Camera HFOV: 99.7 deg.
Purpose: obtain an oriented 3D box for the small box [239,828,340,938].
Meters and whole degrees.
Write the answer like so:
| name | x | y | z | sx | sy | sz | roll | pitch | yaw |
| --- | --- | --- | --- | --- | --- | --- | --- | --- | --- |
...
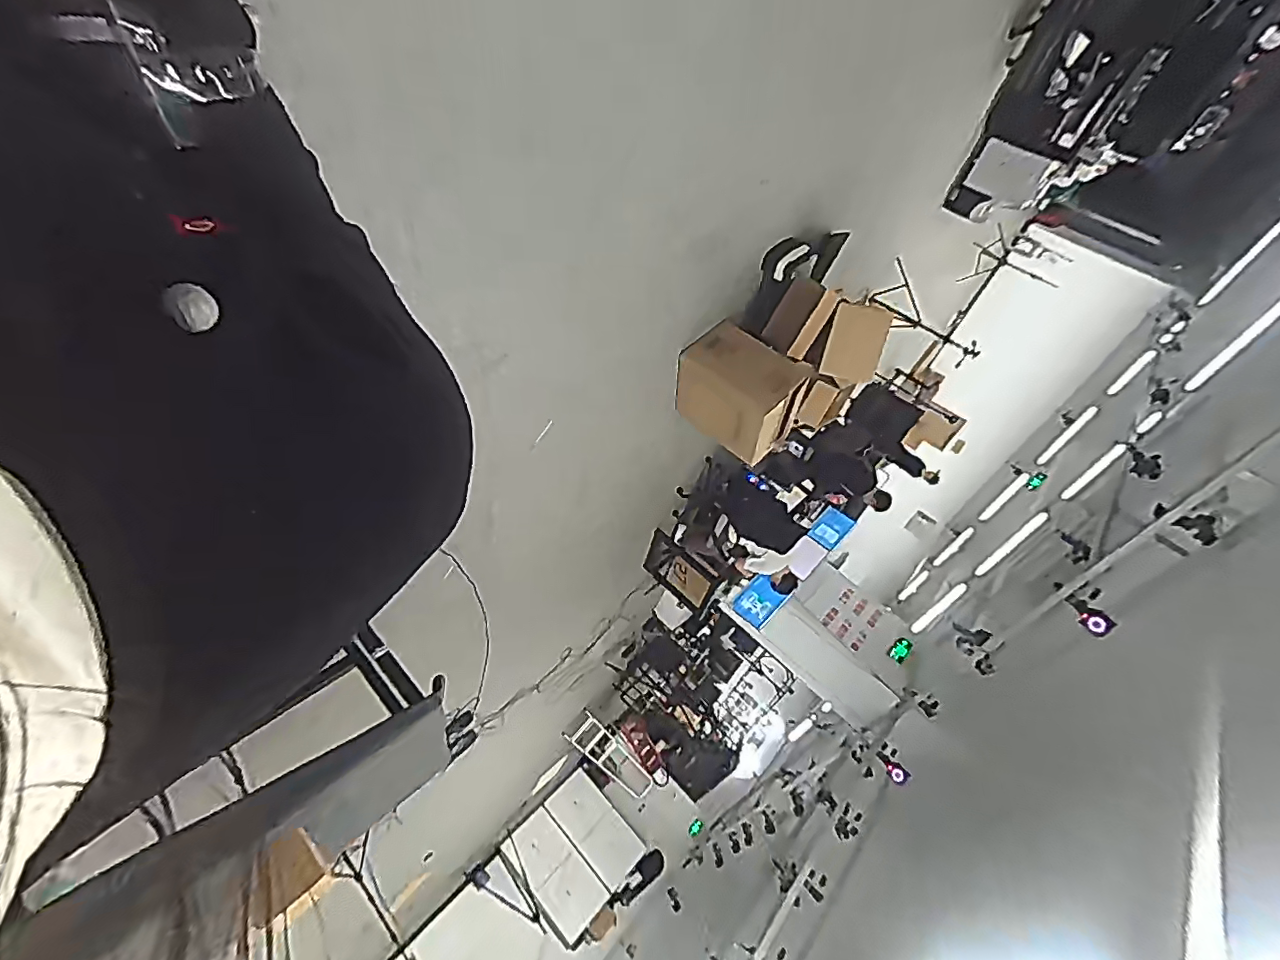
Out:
| name | x | y | z | sx | sy | sz | roll | pitch | yaw |
| --- | --- | --- | --- | --- | --- | --- | --- | --- | --- |
| small box | -0.987 | 1.130 | 1.518 | 0.179 | 0.176 | 0.168 | -35 | 155 | -37 |
